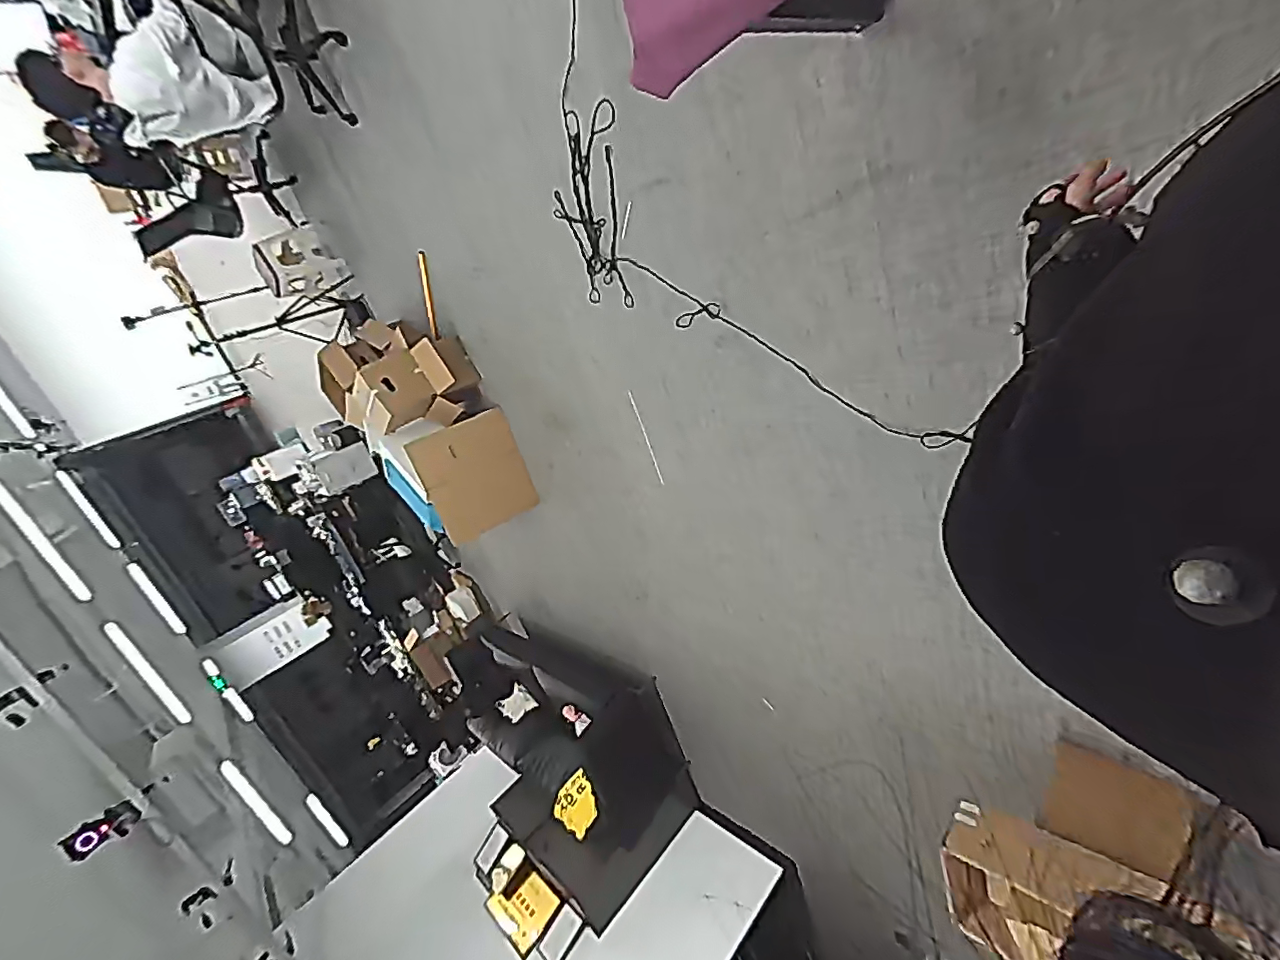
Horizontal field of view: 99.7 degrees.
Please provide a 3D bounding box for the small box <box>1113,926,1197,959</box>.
[{"bbox_3d":[1.236,1.228,1.278,0.168,0.176,0.179,-1,117,49],"label":"small box"}]

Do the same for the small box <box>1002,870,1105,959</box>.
[{"bbox_3d":[1.086,1.181,1.417,0.168,0.176,0.179,-12,107,53],"label":"small box"}]
